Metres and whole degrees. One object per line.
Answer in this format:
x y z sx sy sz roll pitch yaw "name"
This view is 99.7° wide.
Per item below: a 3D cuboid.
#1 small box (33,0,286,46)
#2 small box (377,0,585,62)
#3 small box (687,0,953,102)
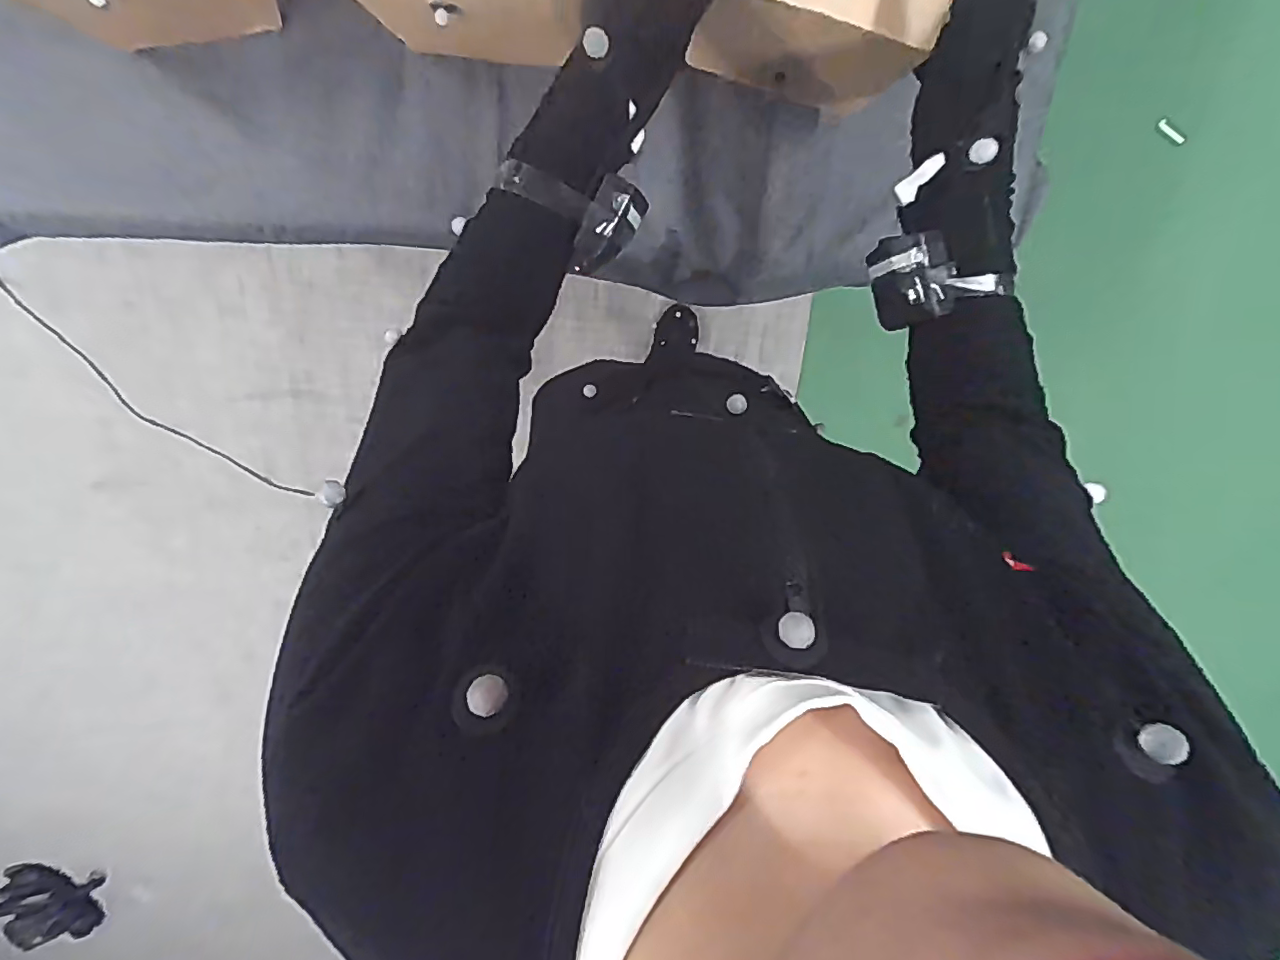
-0.458 -0.505 0.463 0.179 0.176 0.168 -6 113 3 "small box"
-0.142 -0.484 0.458 0.179 0.176 0.168 5 113 0 "small box"
0.146 -0.427 0.423 0.179 0.176 0.168 13 111 -5 "small box"
